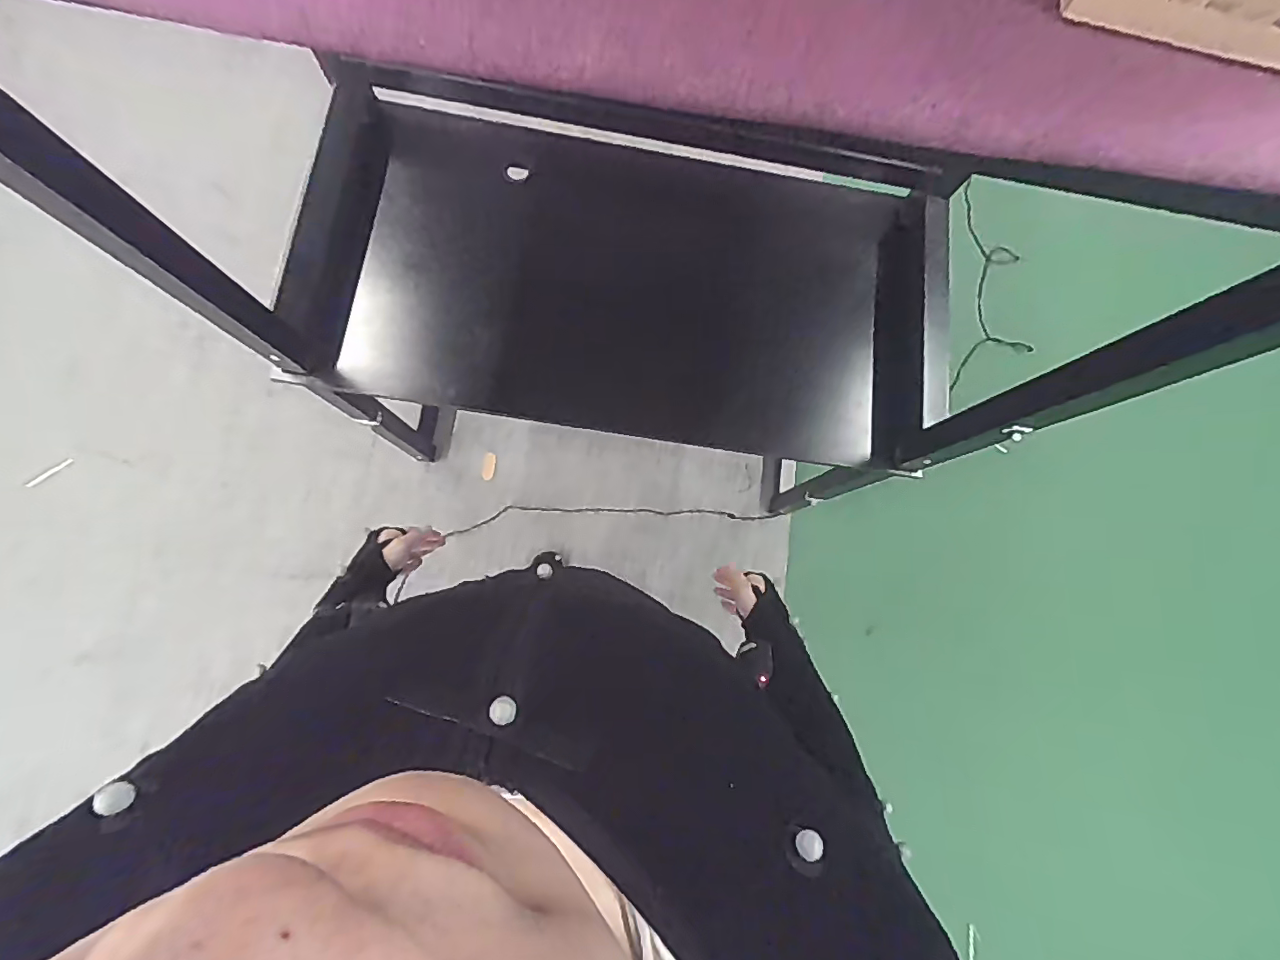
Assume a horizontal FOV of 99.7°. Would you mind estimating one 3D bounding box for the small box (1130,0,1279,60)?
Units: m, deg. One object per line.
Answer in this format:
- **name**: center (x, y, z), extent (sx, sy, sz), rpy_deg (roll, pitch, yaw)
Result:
- **small box**: center (0.328, -0.328, 0.229), extent (0.168, 0.176, 0.179), rpy_deg (13, 77, -2)
